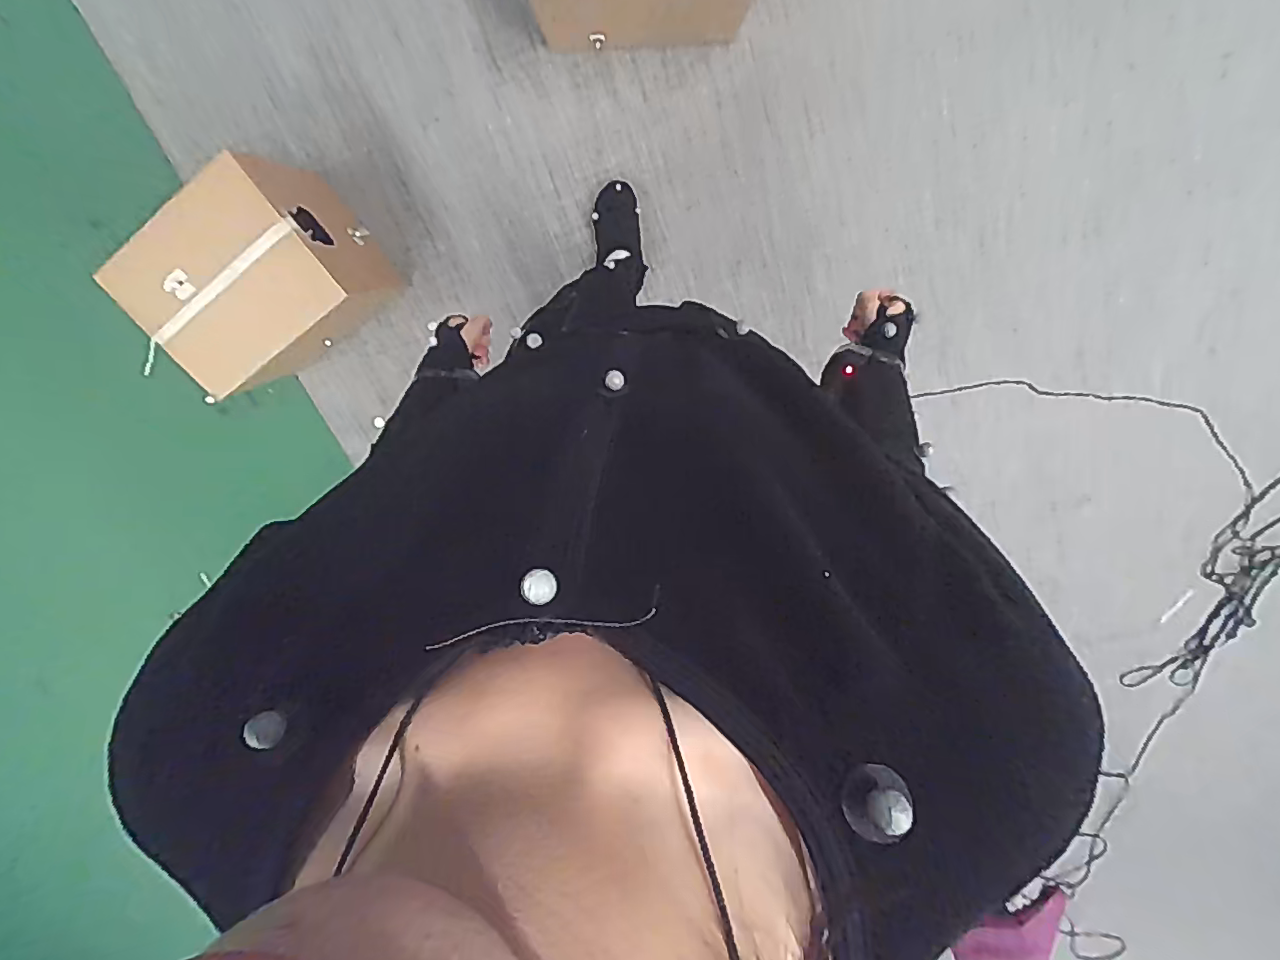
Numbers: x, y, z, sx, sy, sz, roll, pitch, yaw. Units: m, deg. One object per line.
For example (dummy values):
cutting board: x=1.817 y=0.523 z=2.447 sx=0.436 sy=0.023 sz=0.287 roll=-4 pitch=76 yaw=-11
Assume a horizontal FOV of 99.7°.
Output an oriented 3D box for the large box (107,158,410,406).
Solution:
large box: x=-0.819 y=-0.436 z=1.219 sx=0.408 sy=0.320 sz=0.320 roll=-31 pitch=108 yaw=14
